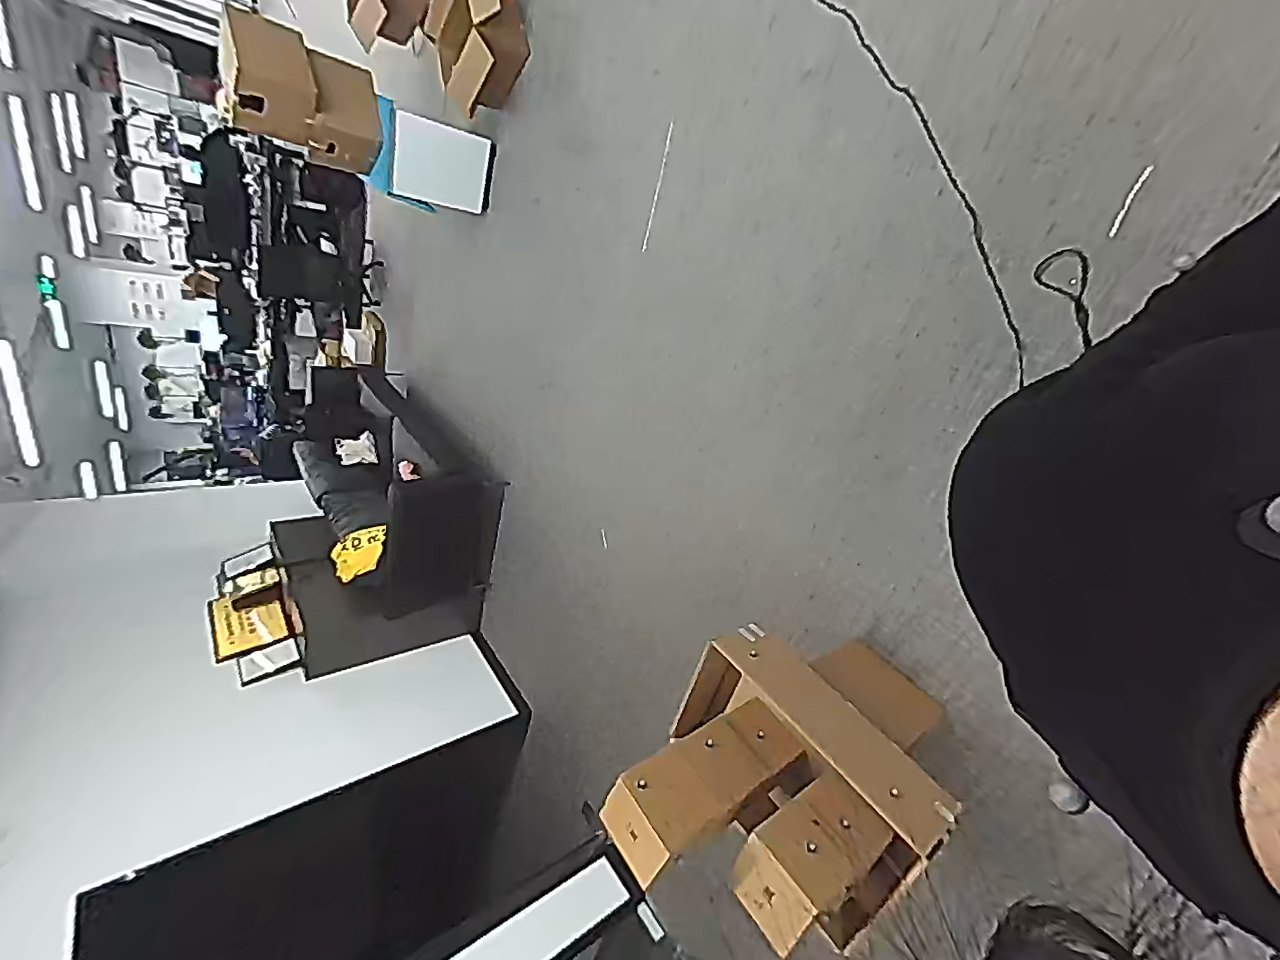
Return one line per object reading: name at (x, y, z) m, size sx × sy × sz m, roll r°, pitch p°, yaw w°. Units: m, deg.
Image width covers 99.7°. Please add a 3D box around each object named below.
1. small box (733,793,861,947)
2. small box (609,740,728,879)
small box at (0.331, 0.803, 1.132) m, size 0.168 × 0.176 × 0.179 m, roll 40°, pitch 125°, yaw 41°
small box at (0.063, 0.719, 1.196) m, size 0.179 × 0.176 × 0.168 m, roll 45°, pitch 128°, yaw 36°
